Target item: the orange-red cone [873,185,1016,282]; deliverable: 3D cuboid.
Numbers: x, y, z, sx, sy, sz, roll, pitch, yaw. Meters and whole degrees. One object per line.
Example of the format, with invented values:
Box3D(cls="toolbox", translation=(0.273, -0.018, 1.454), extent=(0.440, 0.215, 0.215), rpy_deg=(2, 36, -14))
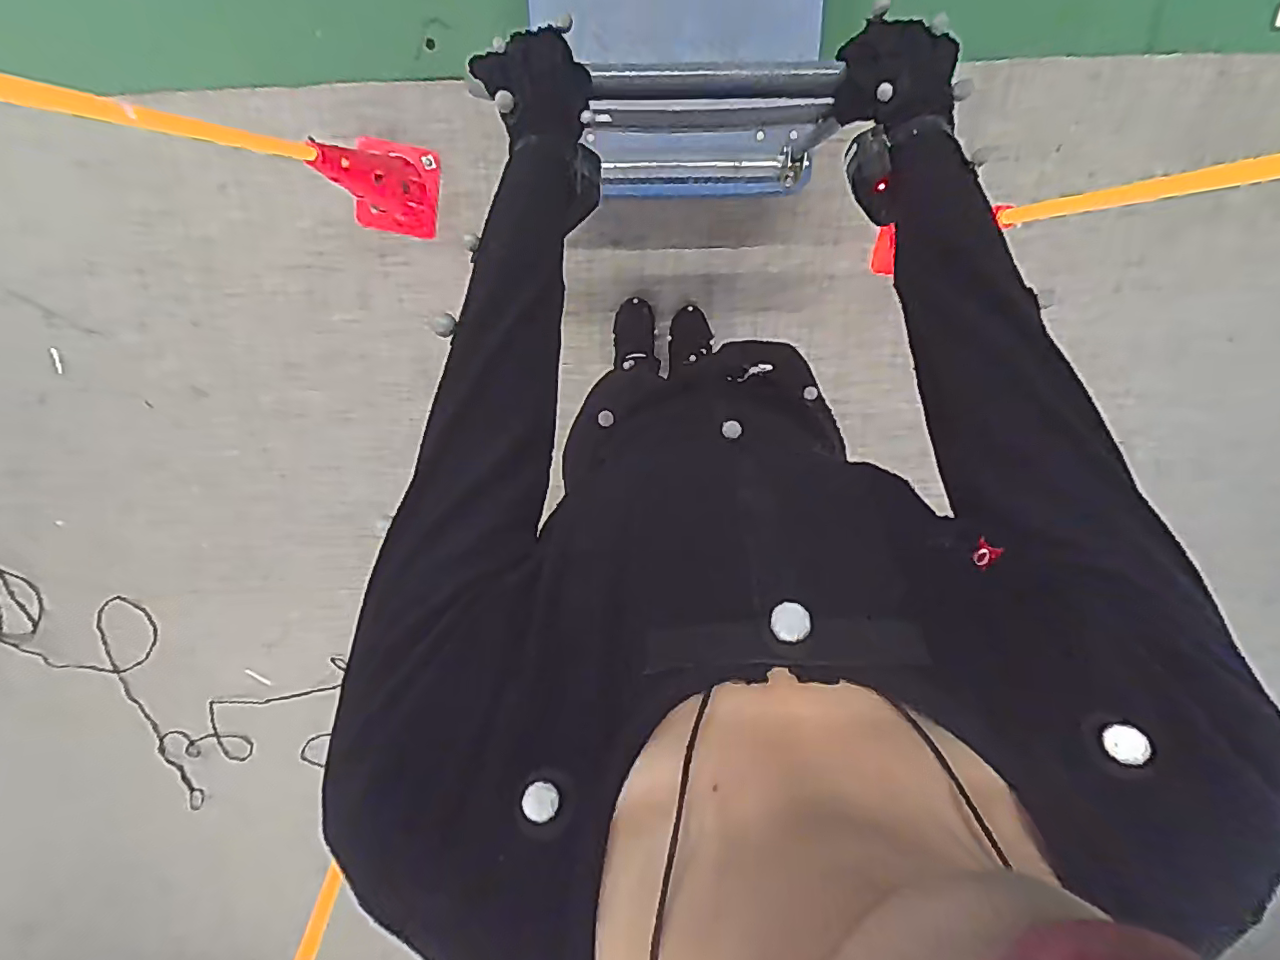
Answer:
Box3D(cls="orange-red cone", translation=(0.684, -0.545, 1.165), extent=(0.198, 0.360, 0.199), rpy_deg=(10, 109, -2))
